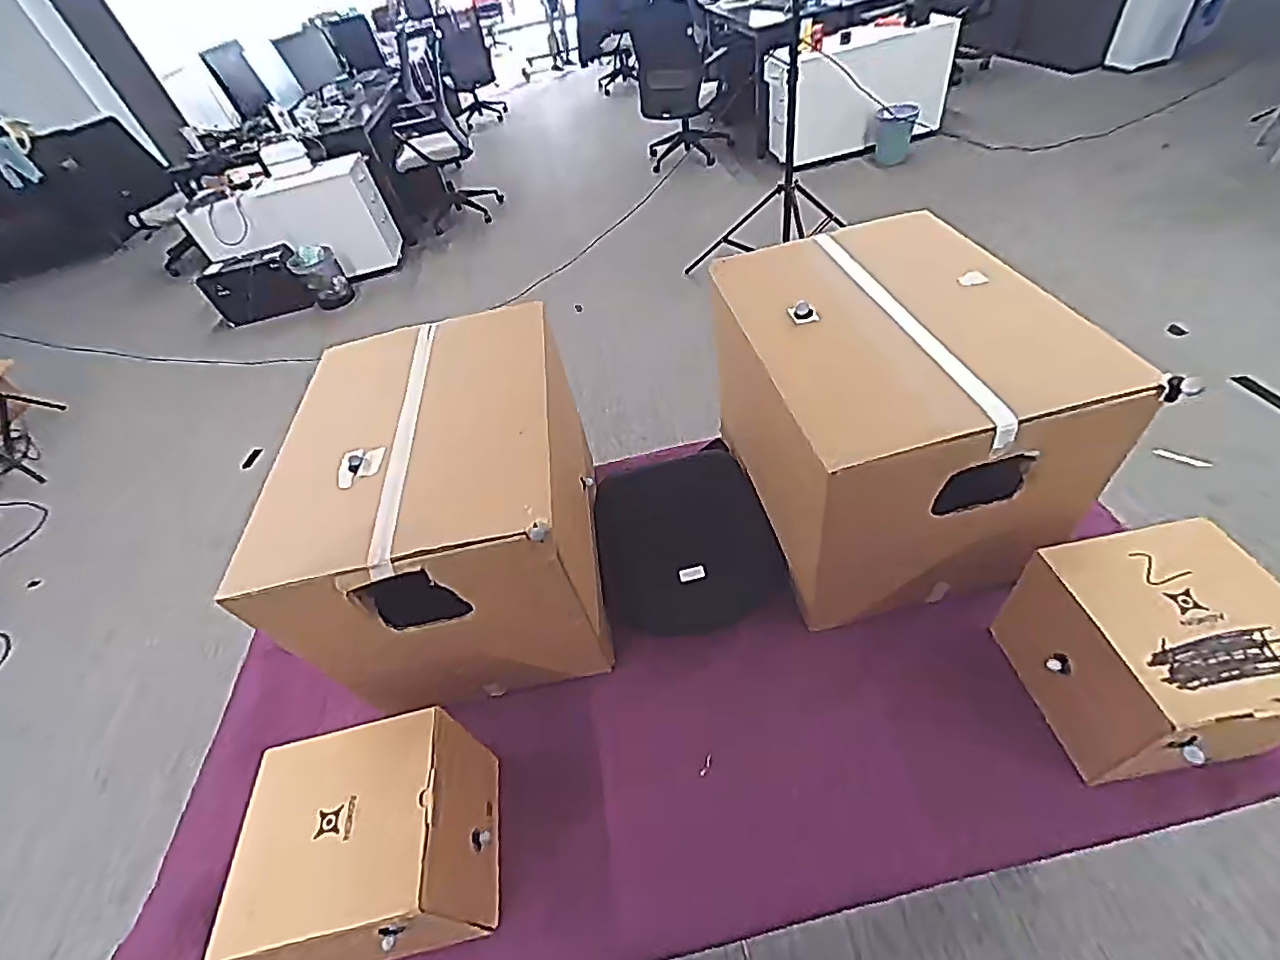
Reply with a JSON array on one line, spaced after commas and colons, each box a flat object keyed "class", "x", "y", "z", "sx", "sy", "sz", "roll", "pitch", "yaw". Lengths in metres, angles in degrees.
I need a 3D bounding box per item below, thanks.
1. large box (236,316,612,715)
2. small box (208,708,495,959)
[{"class": "large box", "x": -0.235, "y": 0.043, "z": 0.734, "sx": 0.320, "sy": 0.320, "sz": 0.408, "roll": -13, "pitch": 49, "yaw": 1}, {"class": "small box", "x": -0.261, "y": 0.361, "z": 0.541, "sx": 0.179, "sy": 0.176, "sz": 0.168, "roll": -15, "pitch": 45, "yaw": -1}]
